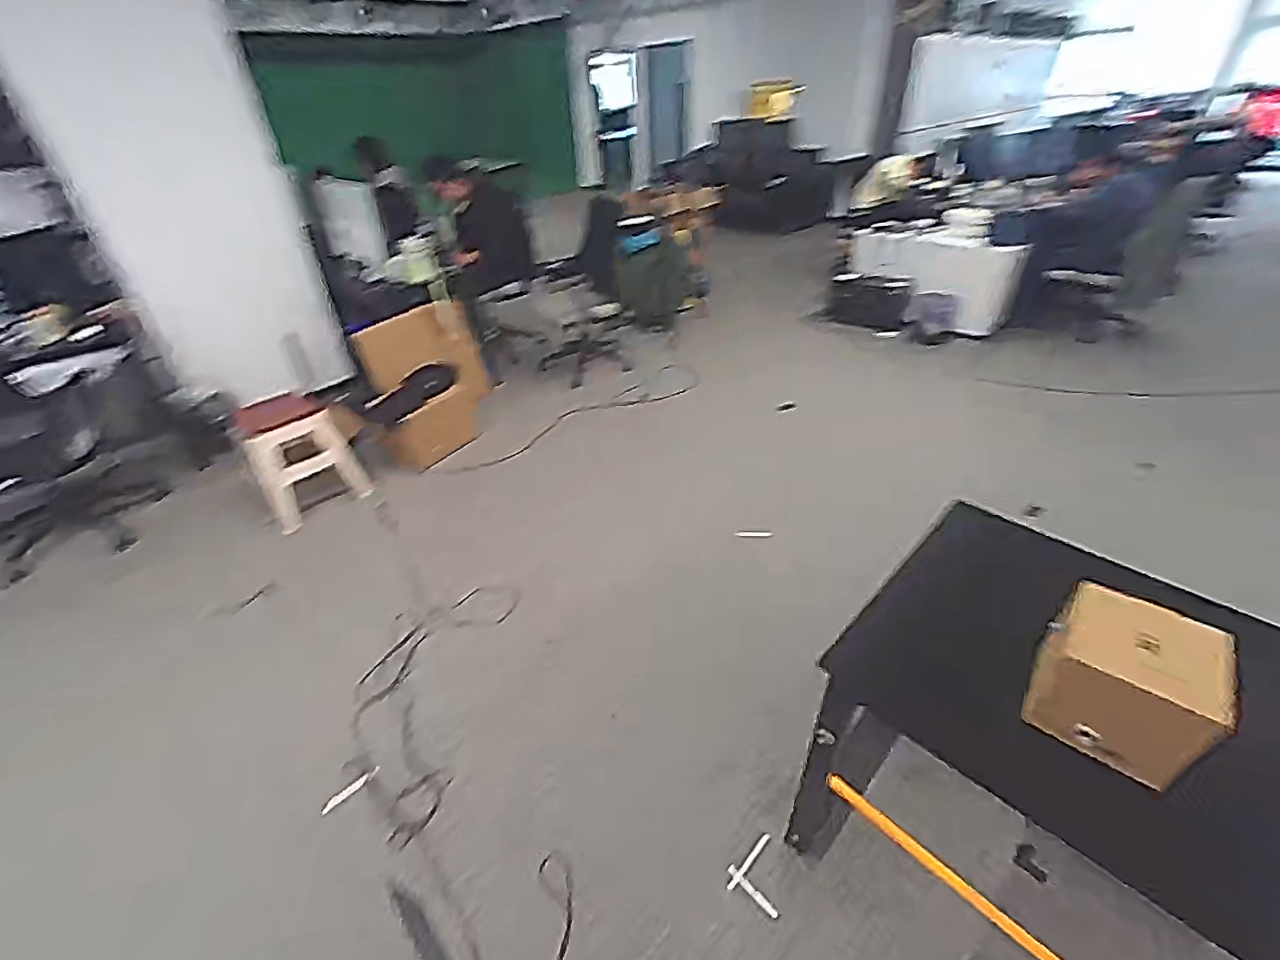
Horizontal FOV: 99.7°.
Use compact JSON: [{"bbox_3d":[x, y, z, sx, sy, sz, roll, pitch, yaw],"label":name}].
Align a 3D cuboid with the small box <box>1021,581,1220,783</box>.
[{"bbox_3d":[0.687,0.288,0.786,0.168,0.176,0.179,23,44,33],"label":"small box"}]
